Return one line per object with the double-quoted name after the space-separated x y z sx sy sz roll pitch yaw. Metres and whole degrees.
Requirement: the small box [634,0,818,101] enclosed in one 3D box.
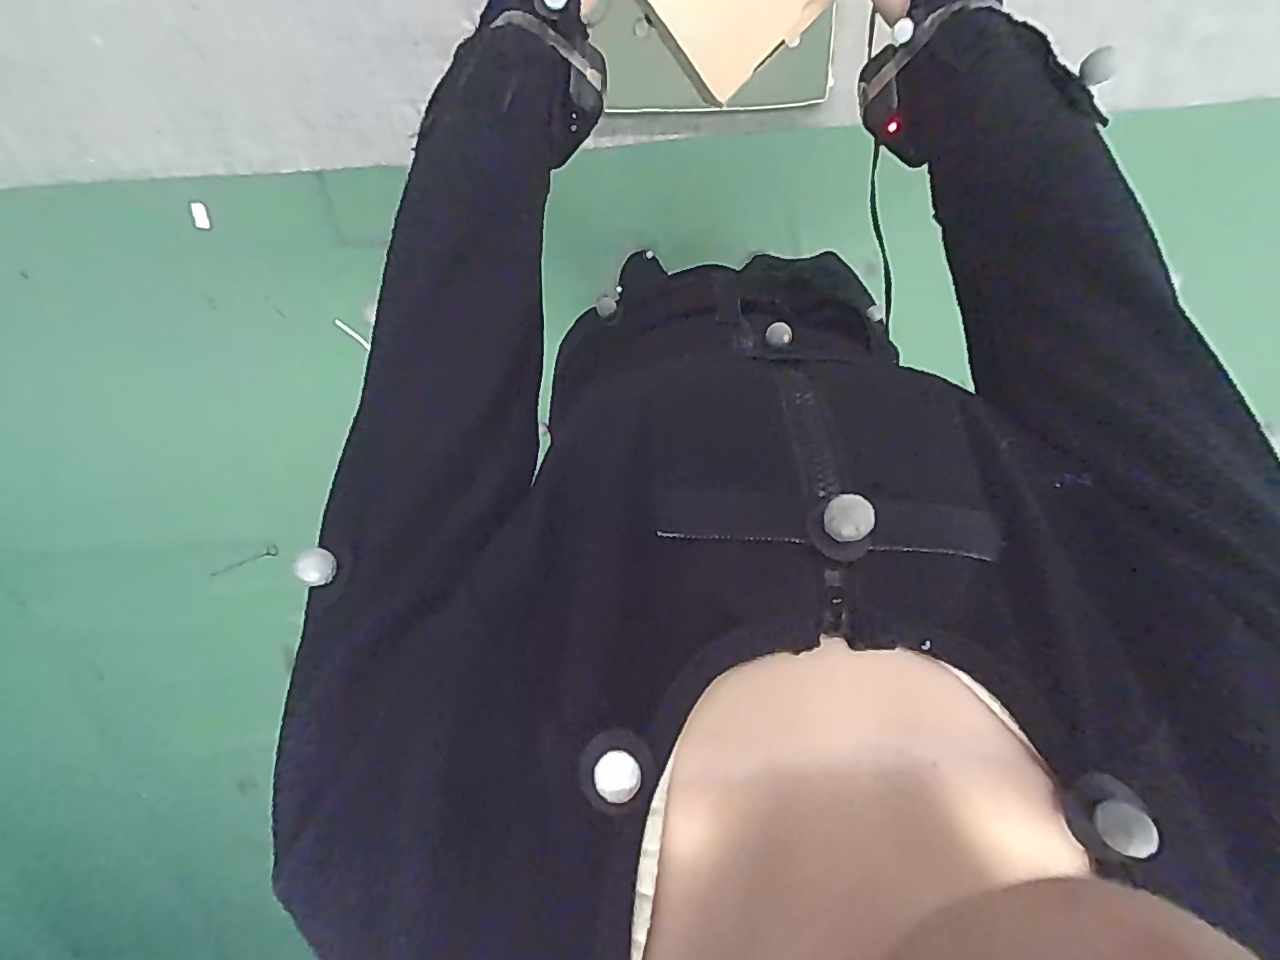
0.065 -0.442 0.422 0.168 0.176 0.179 -37 118 24 "small box"
